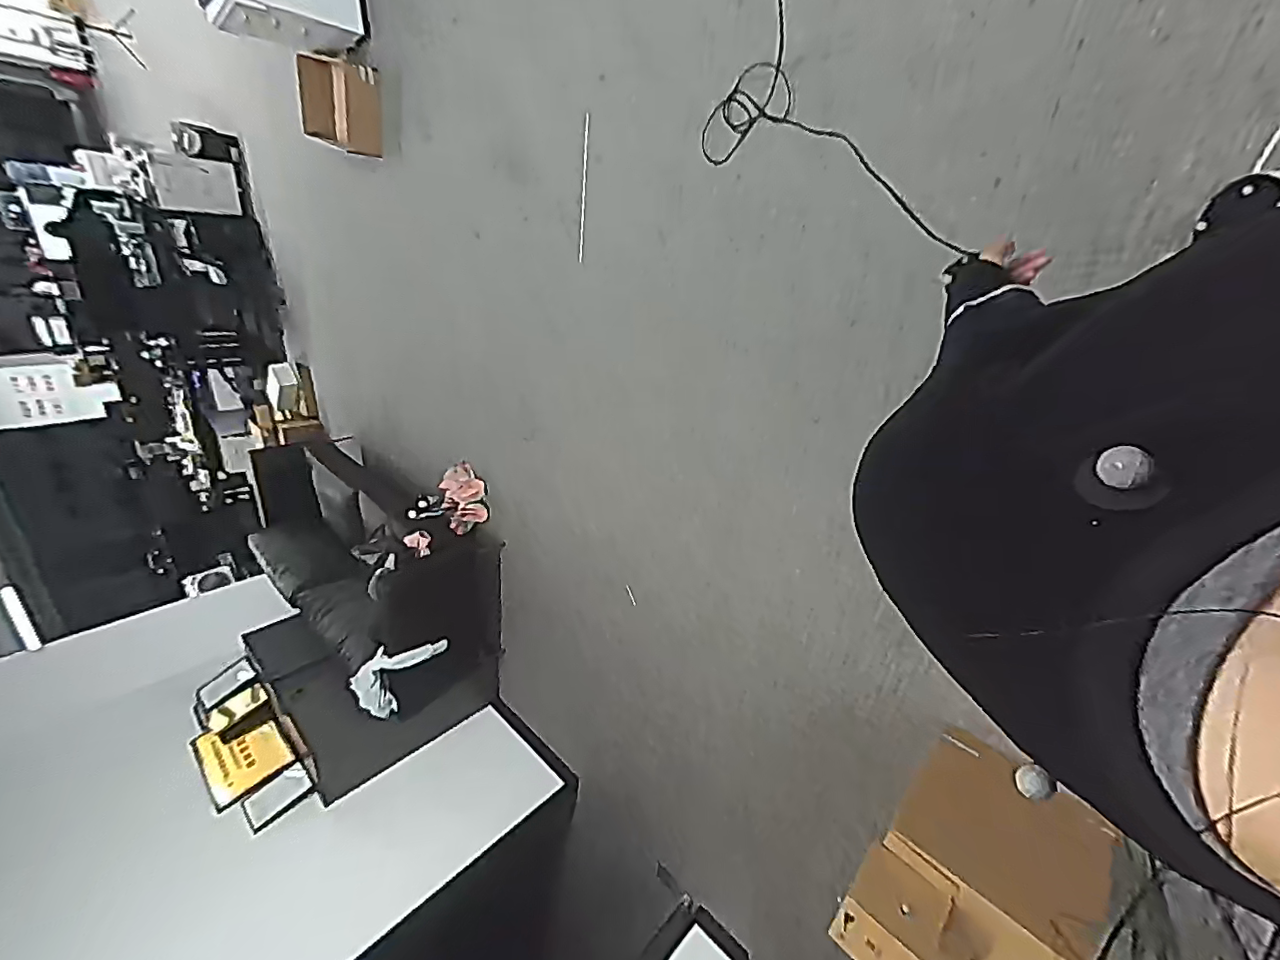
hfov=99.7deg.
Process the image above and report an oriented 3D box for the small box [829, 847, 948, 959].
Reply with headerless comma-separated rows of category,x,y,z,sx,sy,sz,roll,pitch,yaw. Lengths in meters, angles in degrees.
small box,0.558,0.984,1.212,0.179,0.176,0.168,27,121,35
